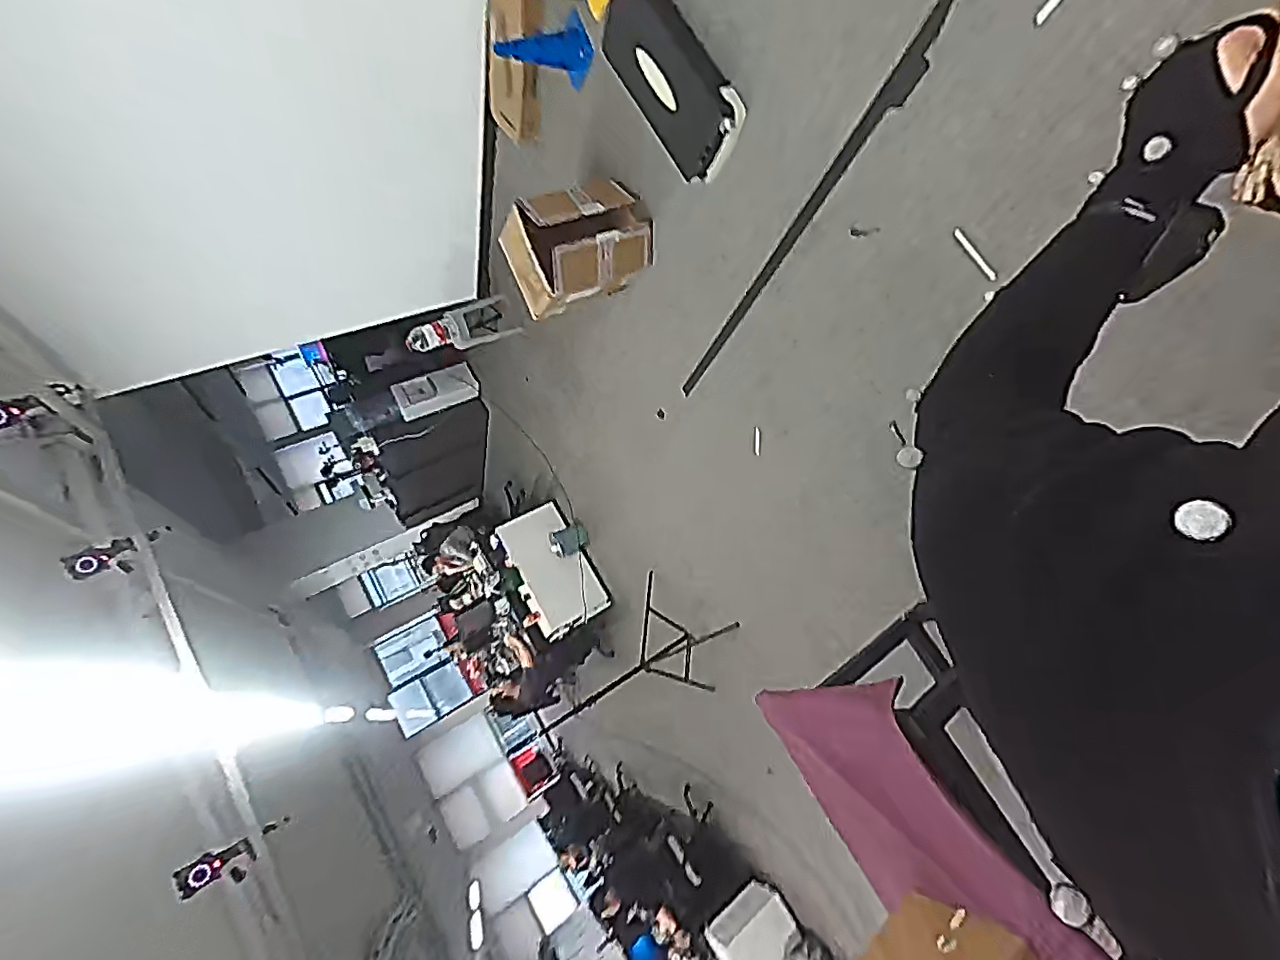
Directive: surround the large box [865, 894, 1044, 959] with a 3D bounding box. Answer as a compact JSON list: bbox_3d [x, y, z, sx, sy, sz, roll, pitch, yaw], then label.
[{"bbox_3d":[0.706,1.176,1.093,0.408,0.320,0.320,58,156,10],"label":"large box"}]
